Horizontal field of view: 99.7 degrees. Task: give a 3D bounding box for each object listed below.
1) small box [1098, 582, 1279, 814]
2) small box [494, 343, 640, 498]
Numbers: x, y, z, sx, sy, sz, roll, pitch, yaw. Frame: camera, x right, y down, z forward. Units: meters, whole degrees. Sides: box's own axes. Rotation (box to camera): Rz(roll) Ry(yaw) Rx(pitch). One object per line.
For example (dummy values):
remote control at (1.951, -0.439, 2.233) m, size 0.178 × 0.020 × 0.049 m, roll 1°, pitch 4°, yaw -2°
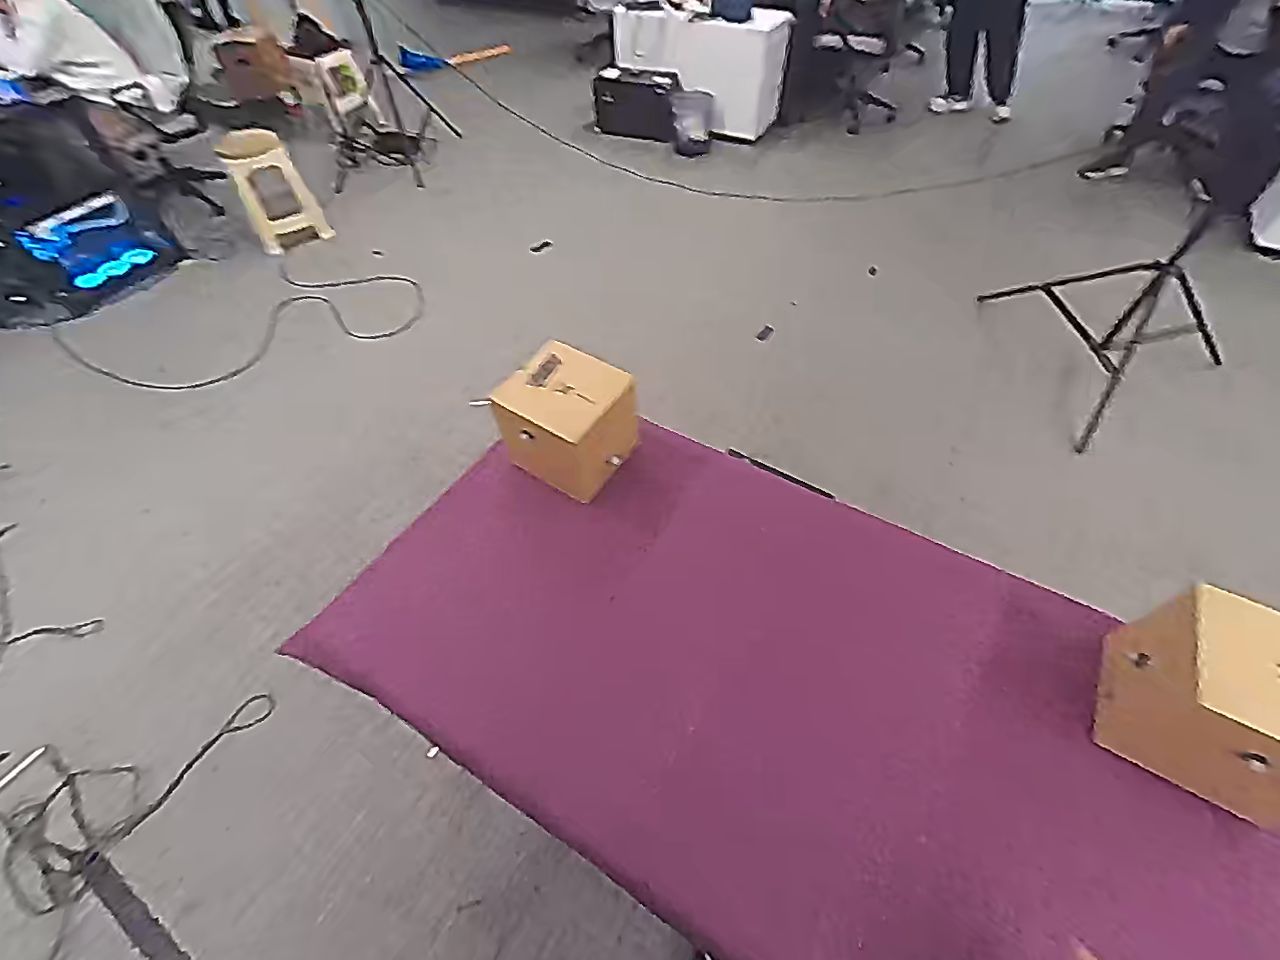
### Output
small box at (0.684, 0.257, 0.628) m, size 0.179 × 0.176 × 0.168 m, roll 26°, pitch 58°, yaw 19°
small box at (-0.116, -0.097, 0.924) m, size 0.179 × 0.176 × 0.168 m, roll 28°, pitch 60°, yaw 20°
